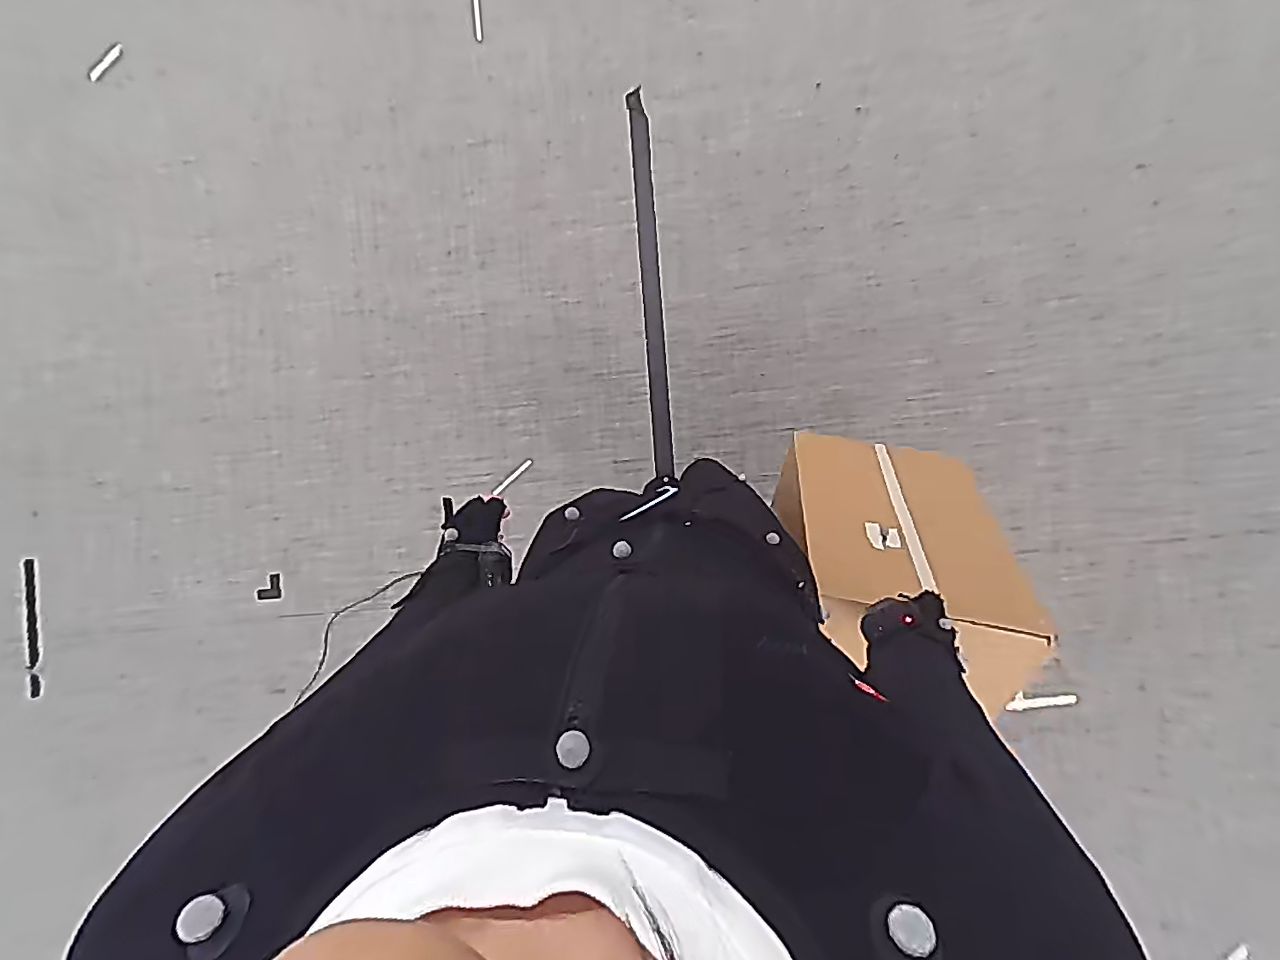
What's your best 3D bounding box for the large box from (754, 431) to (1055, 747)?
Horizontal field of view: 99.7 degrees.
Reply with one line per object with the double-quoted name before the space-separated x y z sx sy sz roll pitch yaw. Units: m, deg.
"large box" 0.388 0.171 0.936 0.320 0.408 0.320 9 129 4
